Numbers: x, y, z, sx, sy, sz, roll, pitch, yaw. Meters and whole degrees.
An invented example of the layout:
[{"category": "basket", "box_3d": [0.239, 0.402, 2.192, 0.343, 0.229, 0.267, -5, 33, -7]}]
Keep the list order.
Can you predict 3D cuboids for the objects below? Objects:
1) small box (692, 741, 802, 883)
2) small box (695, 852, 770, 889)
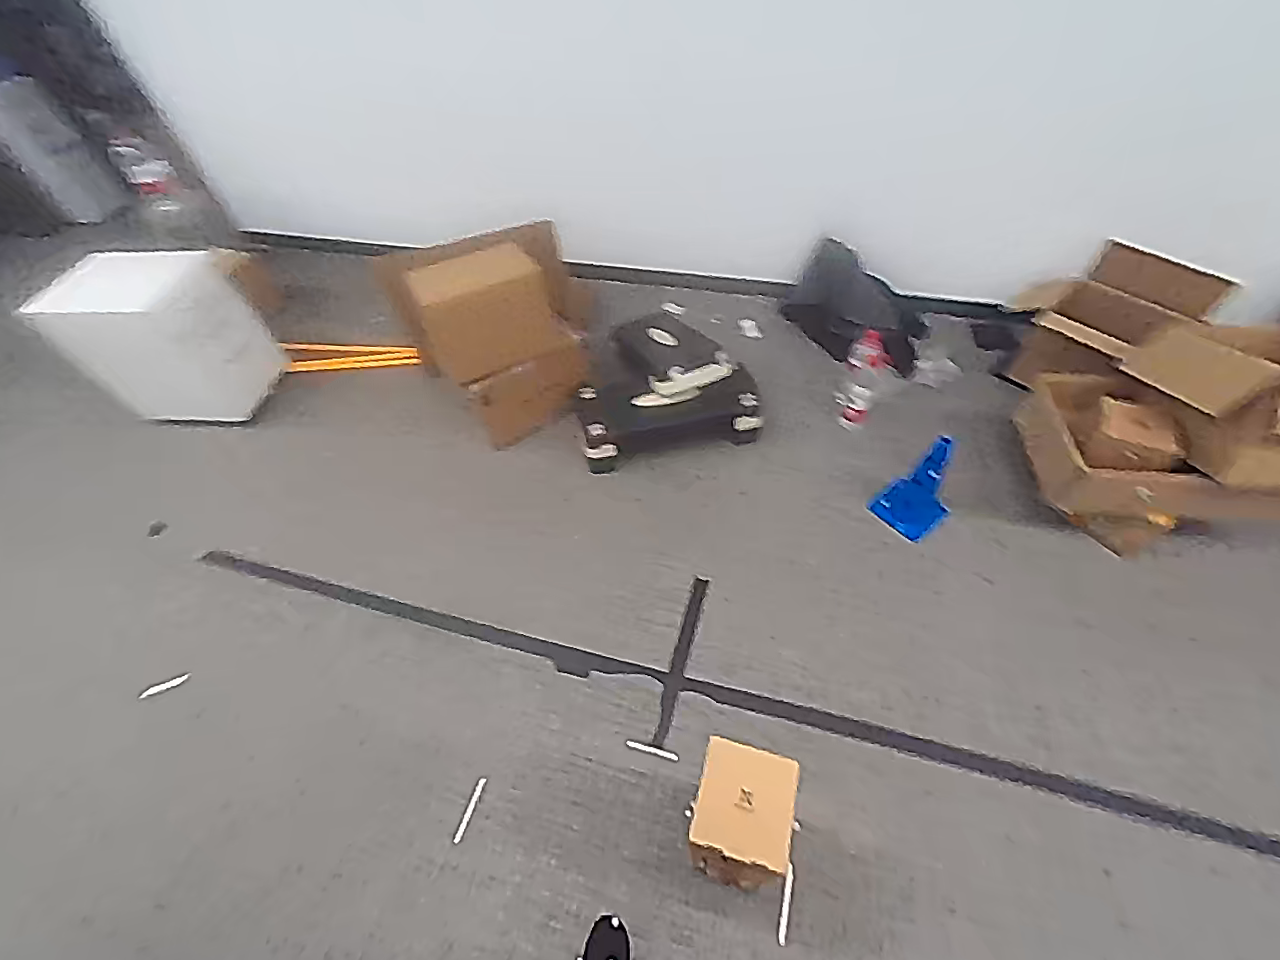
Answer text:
[{"category": "small box", "box_3d": [0.194, 0.620, 1.007, 0.168, 0.176, 0.179, 12, 55, 14]}, {"category": "small box", "box_3d": [0.222, 0.826, 1.261, 0.168, 0.176, 0.179, 9, 55, 12]}]
